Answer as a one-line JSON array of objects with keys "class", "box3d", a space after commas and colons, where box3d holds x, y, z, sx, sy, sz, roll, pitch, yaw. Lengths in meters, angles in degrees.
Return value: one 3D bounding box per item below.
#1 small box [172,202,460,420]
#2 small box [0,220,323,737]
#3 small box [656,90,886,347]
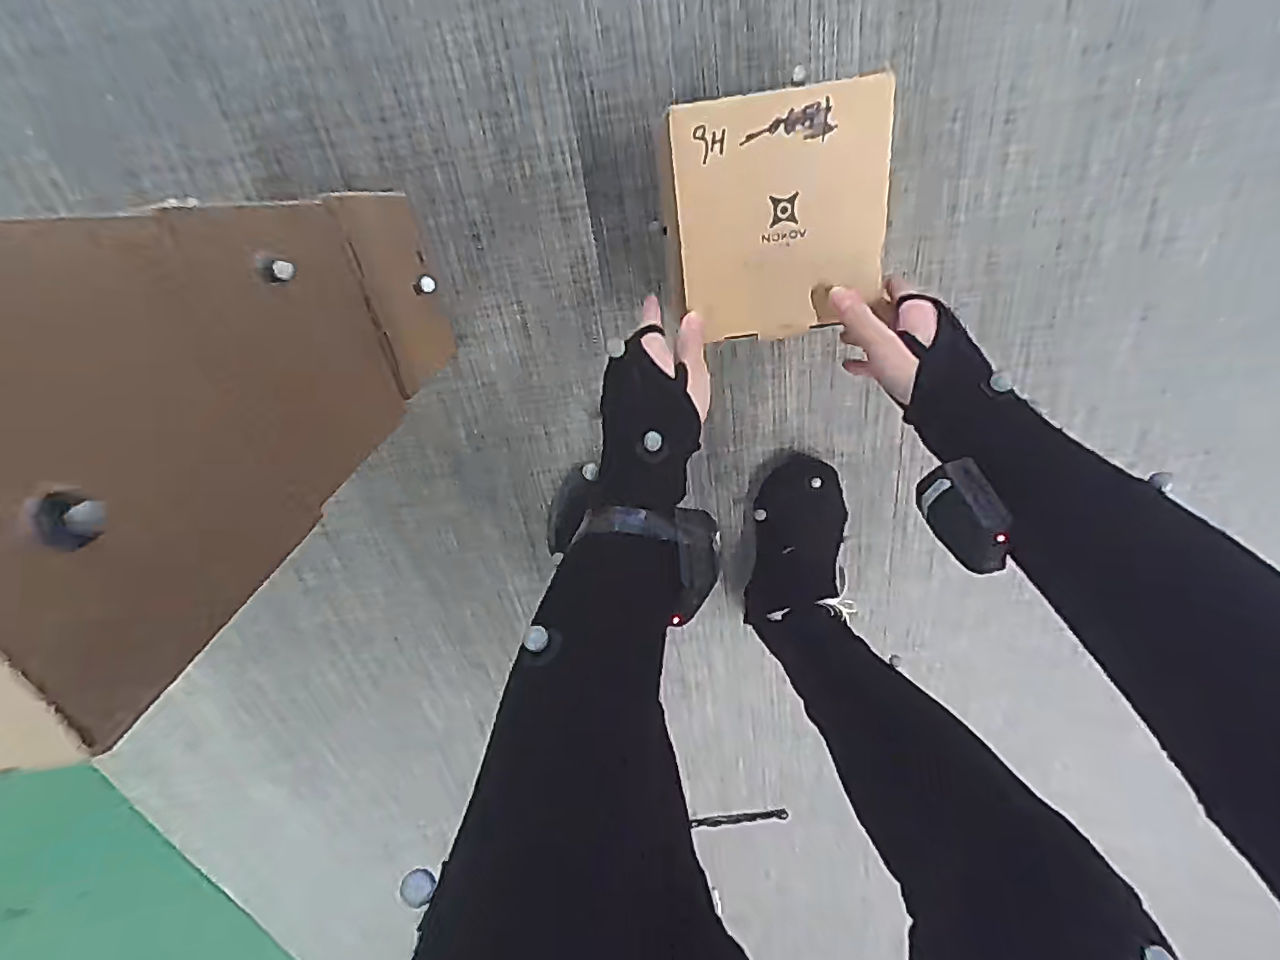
[{"class": "small box", "box3d": [-0.302, -0.168, 0.532, 0.179, 0.176, 0.168, -10, 117, 1]}, {"class": "small box", "box3d": [-0.288, -0.007, 0.245, 0.168, 0.176, 0.179, -11, 116, 3]}, {"class": "small box", "box3d": [0.109, -0.242, 0.512, 0.168, 0.176, 0.179, -8, 118, 1]}]
